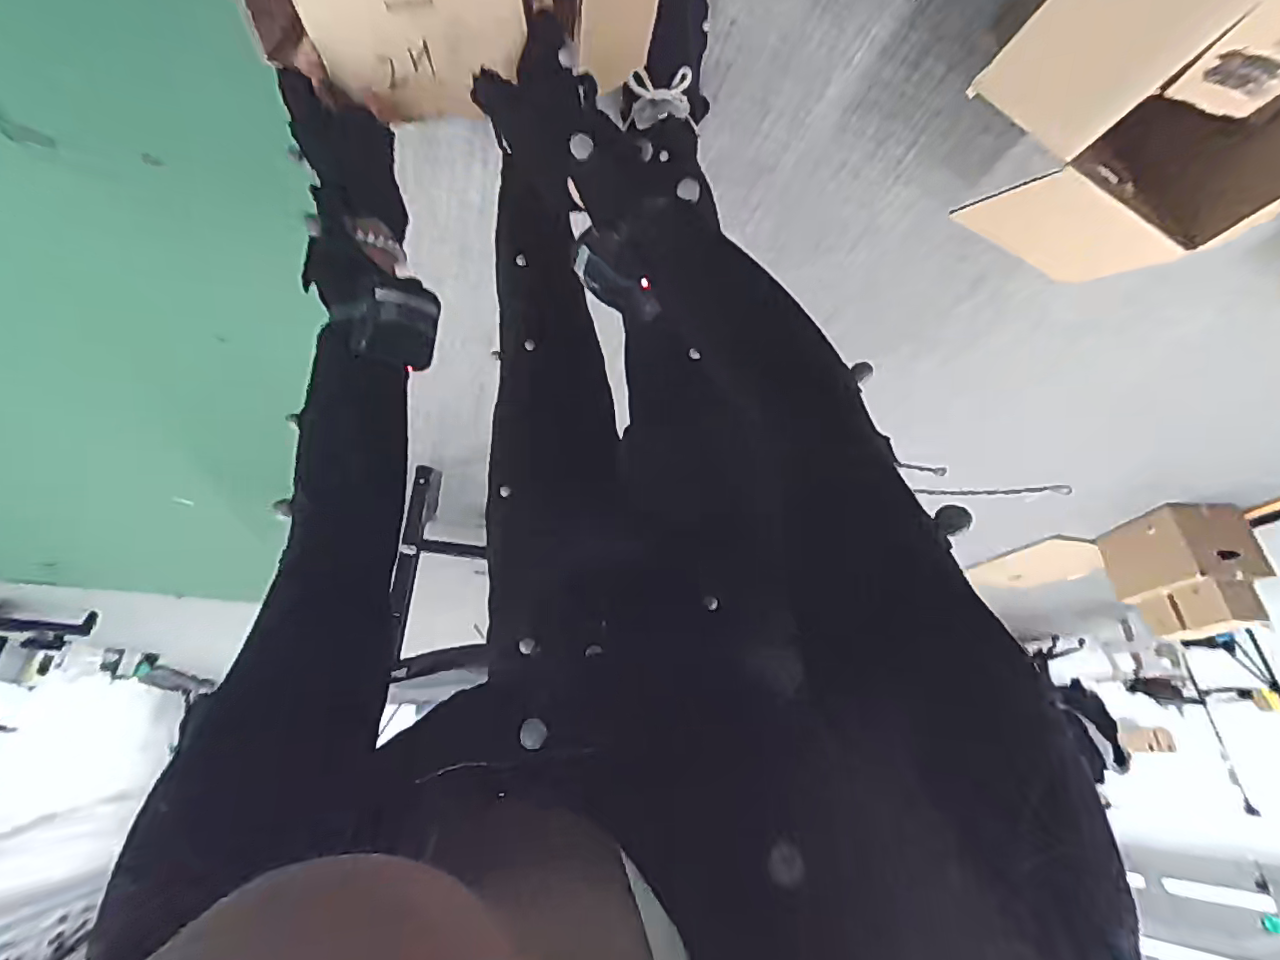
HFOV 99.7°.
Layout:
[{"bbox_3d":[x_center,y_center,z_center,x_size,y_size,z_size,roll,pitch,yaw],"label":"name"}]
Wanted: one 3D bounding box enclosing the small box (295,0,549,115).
[{"bbox_3d":[-0.171,-0.424,0.423,0.168,0.176,0.179,-3,147,2],"label":"small box"}]
